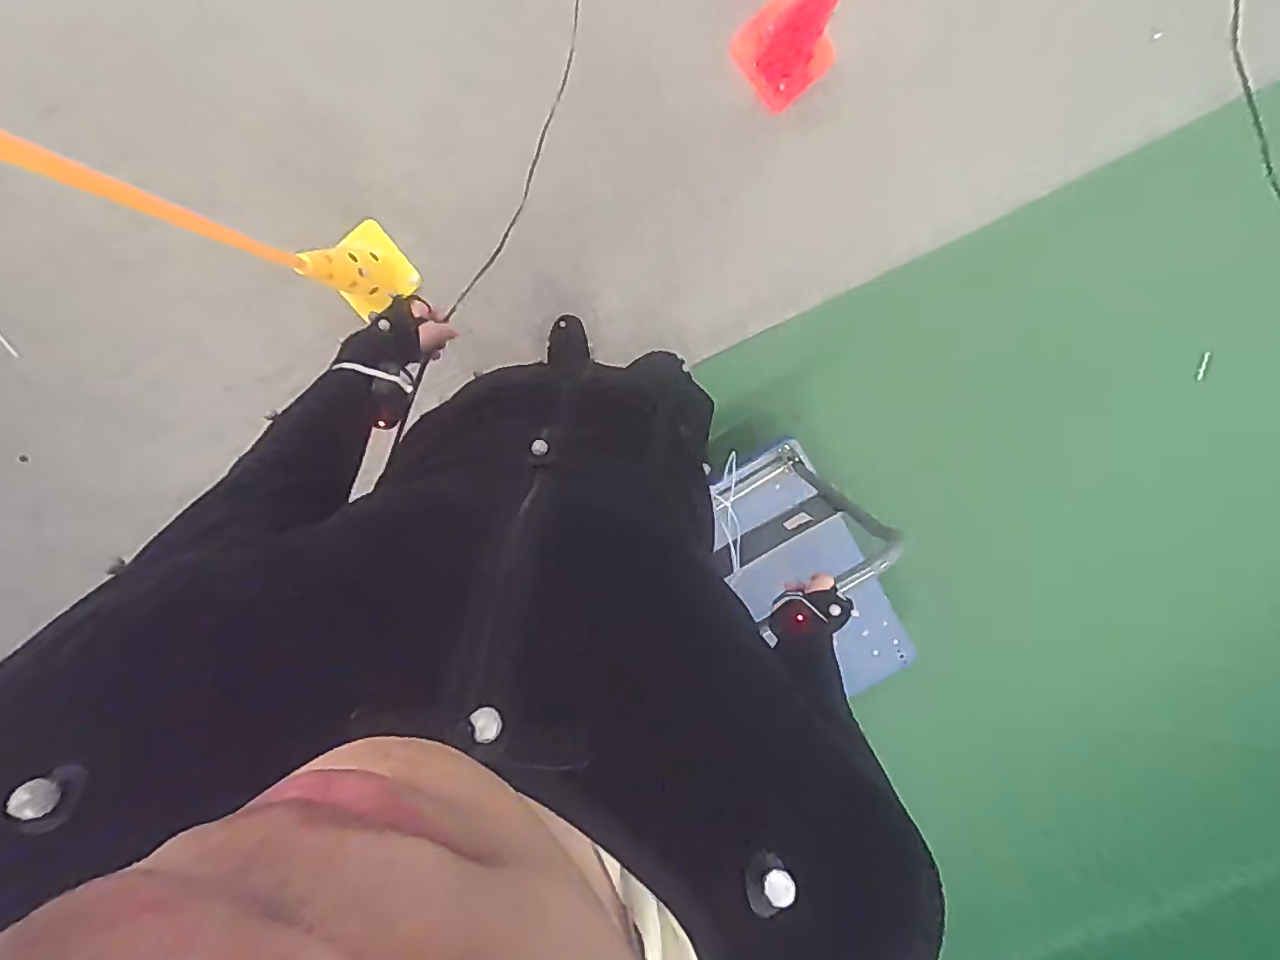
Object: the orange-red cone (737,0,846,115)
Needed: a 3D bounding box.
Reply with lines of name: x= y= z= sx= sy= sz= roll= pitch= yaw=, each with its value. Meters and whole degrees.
orange-red cone: x=0.372 y=-0.991 z=1.164 sx=0.199 sy=0.360 sz=0.198 roll=-40 pitch=106 yaw=8
